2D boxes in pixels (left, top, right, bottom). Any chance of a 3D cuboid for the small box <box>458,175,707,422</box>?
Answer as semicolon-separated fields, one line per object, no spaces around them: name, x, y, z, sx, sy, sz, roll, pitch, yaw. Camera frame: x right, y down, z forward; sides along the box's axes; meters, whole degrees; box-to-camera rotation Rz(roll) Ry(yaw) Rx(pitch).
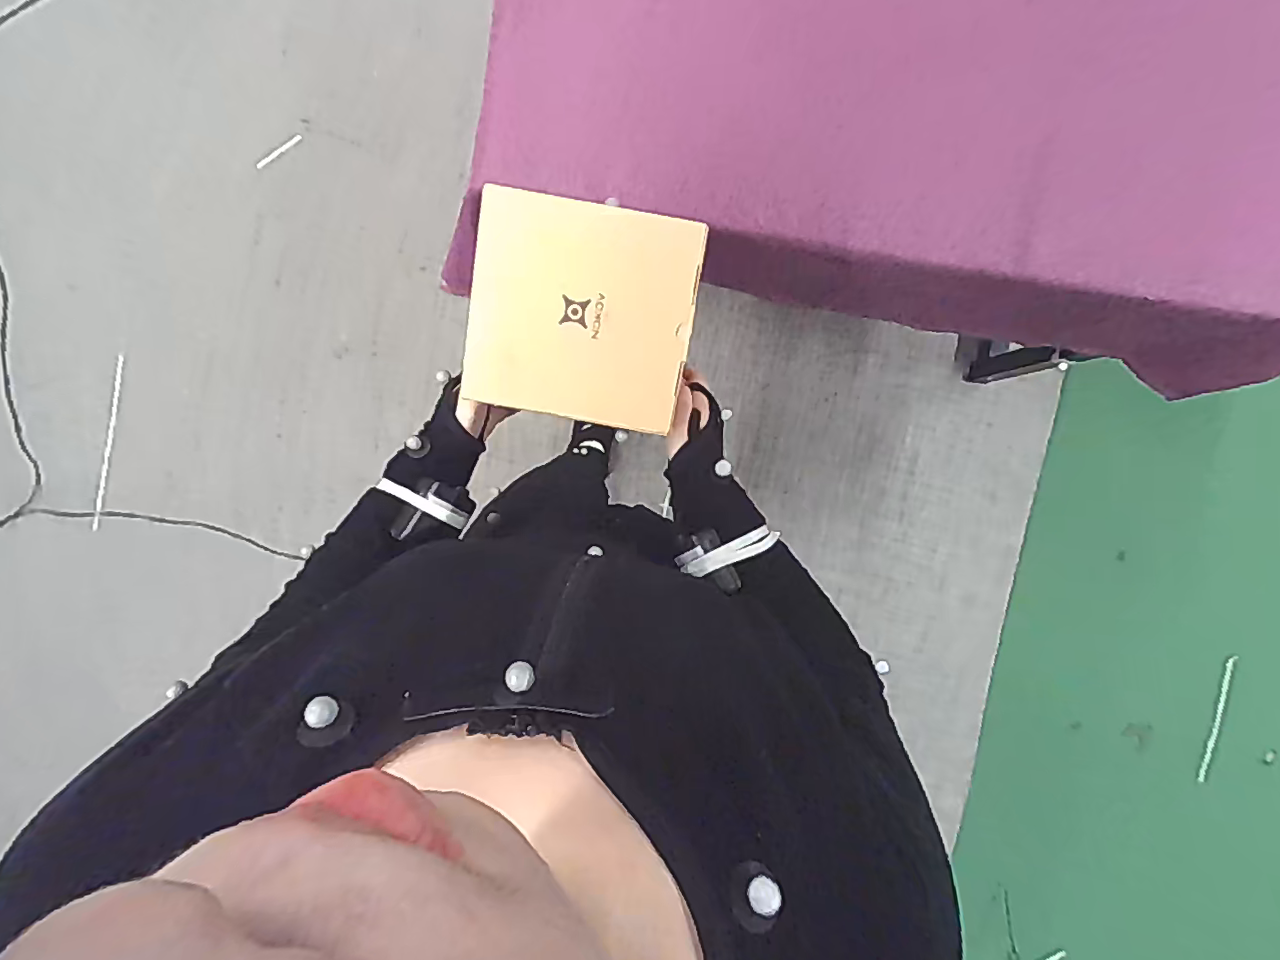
small box;-0.047;-0.152;0.505;0.179;0.176;0.168;10;99;-1
